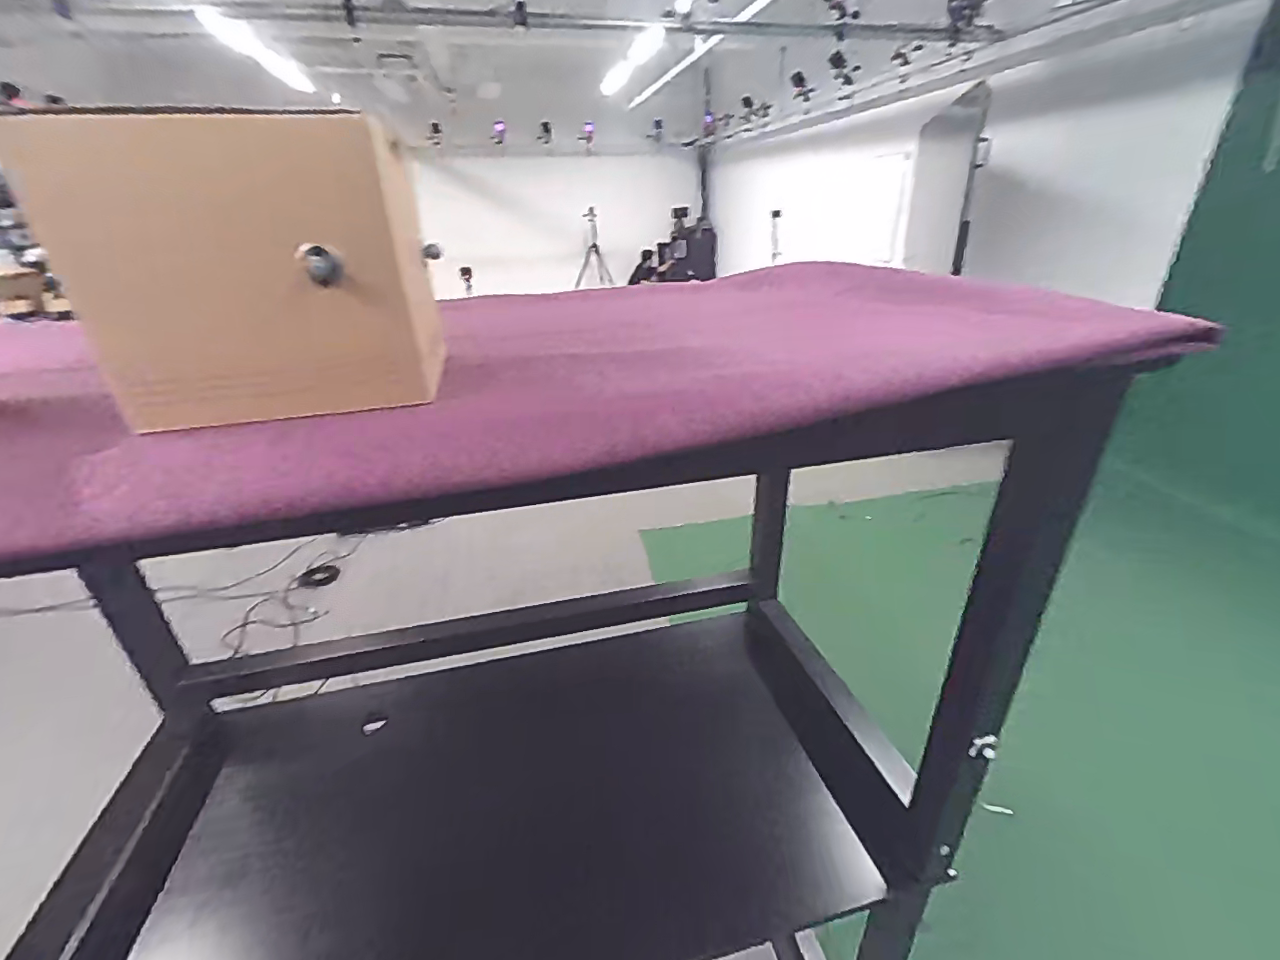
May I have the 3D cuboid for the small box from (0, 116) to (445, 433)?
[{"bbox_3d":[-0.245,-0.144,0.384,0.179,0.176,0.168,-9,26,-12],"label":"small box"}]
